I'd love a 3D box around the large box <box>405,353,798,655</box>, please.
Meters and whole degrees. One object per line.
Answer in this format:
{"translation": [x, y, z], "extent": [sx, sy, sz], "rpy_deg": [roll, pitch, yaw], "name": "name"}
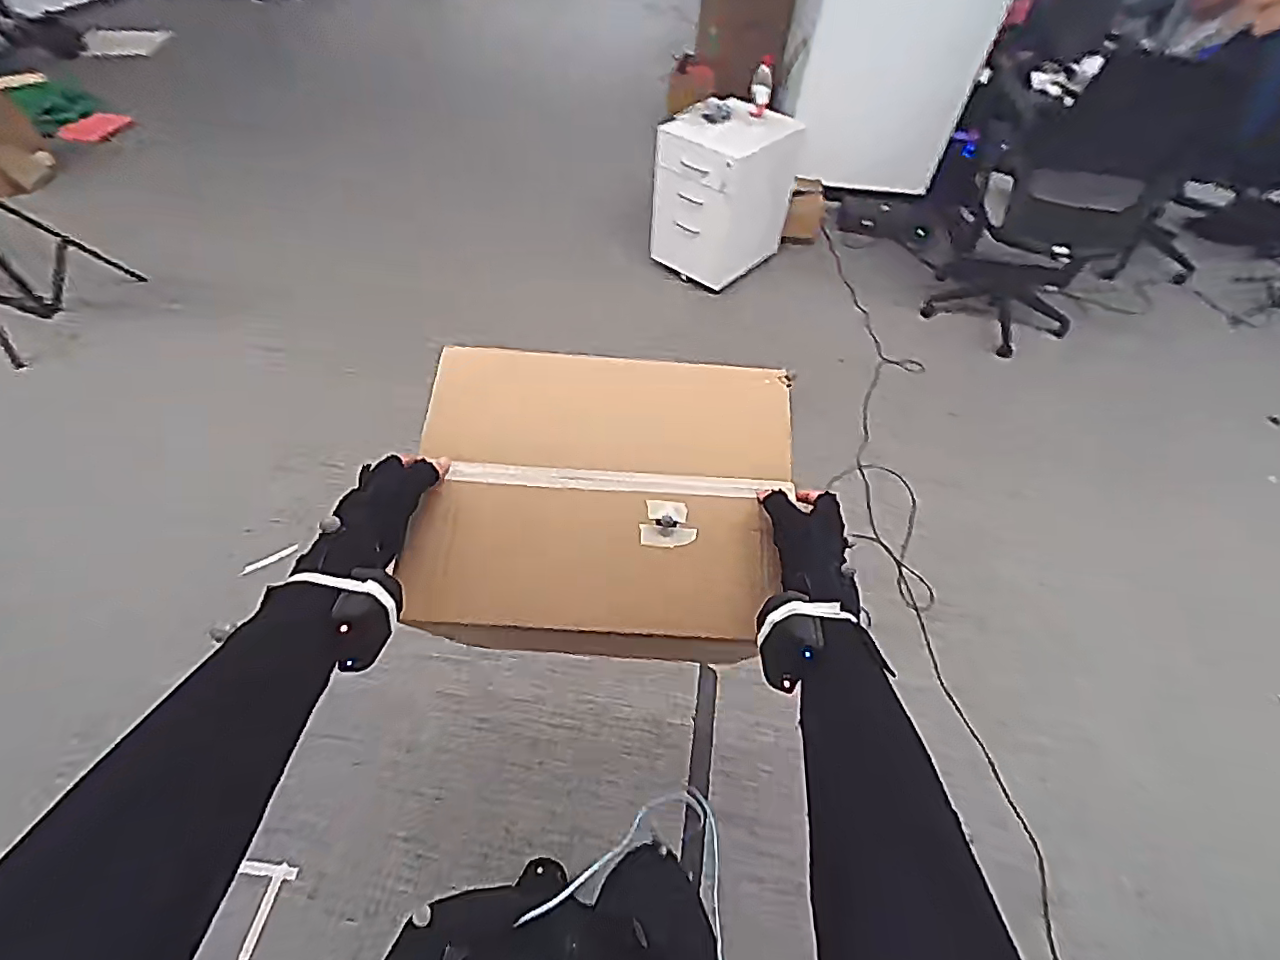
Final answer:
{"translation": [-0.039, 0.057, 0.733], "extent": [0.408, 0.320, 0.320], "rpy_deg": [5, 69, -2], "name": "large box"}
